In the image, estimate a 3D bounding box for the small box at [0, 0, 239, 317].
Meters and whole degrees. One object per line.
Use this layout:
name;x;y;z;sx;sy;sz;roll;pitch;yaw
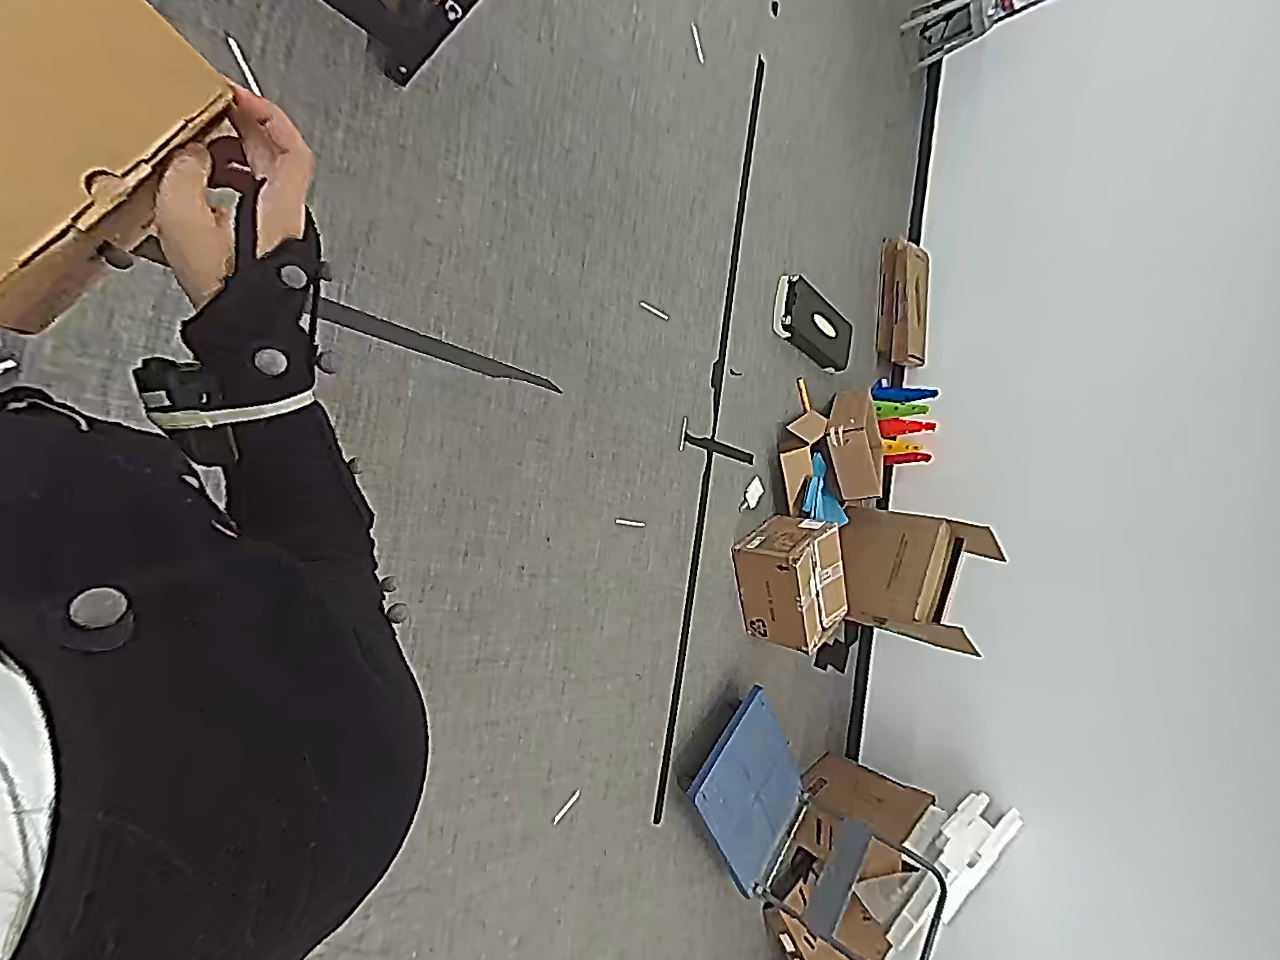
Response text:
small box;-0.354;-0.198;0.268;0.179;0.176;0.168;46;68;-40
